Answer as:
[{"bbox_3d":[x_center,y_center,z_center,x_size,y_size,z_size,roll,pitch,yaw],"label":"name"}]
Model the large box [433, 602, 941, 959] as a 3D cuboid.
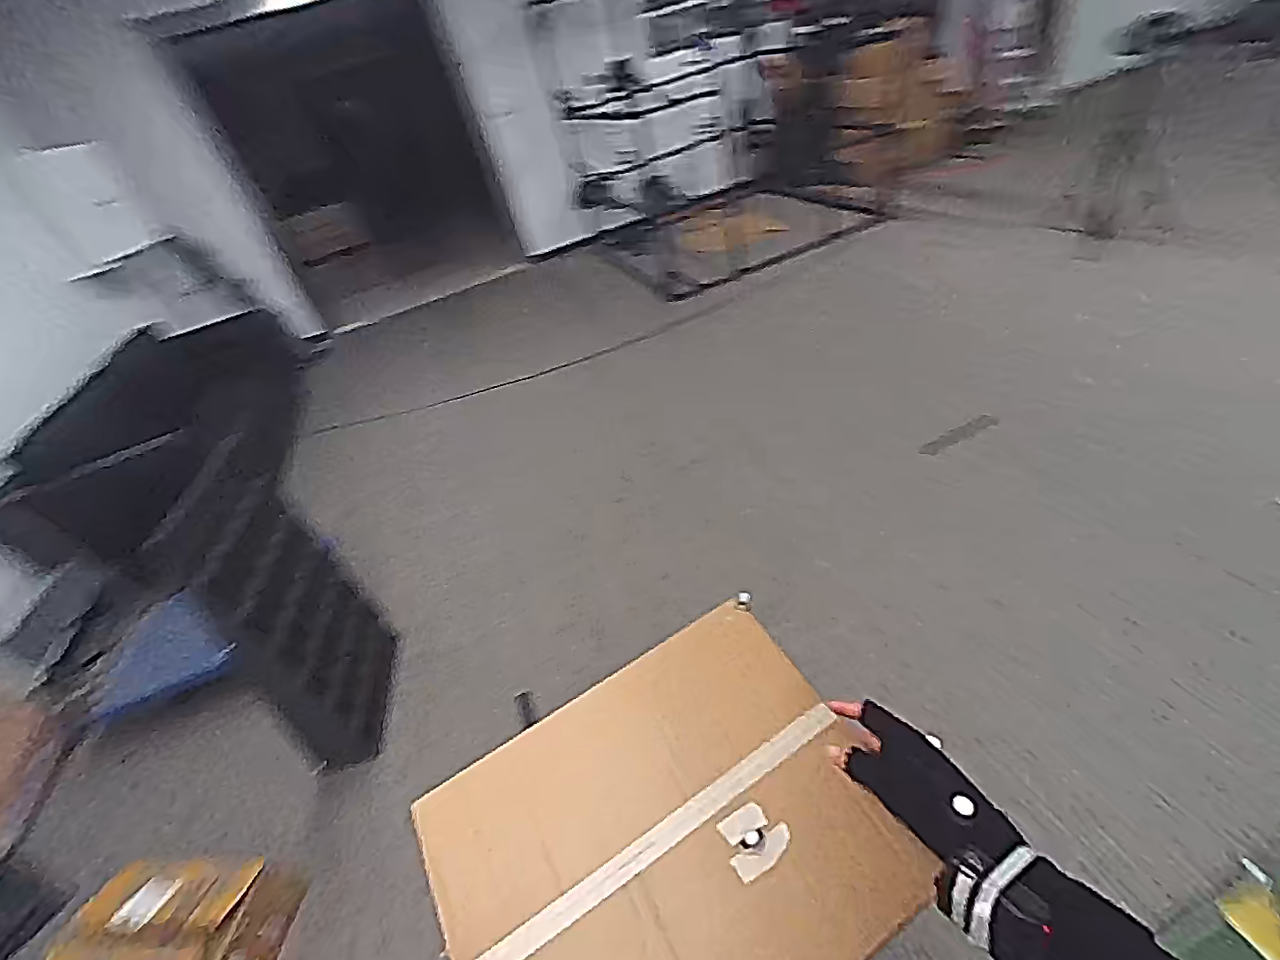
[{"bbox_3d":[0.044,0.428,0.632,0.408,0.320,0.320,-28,52,-15],"label":"large box"}]
